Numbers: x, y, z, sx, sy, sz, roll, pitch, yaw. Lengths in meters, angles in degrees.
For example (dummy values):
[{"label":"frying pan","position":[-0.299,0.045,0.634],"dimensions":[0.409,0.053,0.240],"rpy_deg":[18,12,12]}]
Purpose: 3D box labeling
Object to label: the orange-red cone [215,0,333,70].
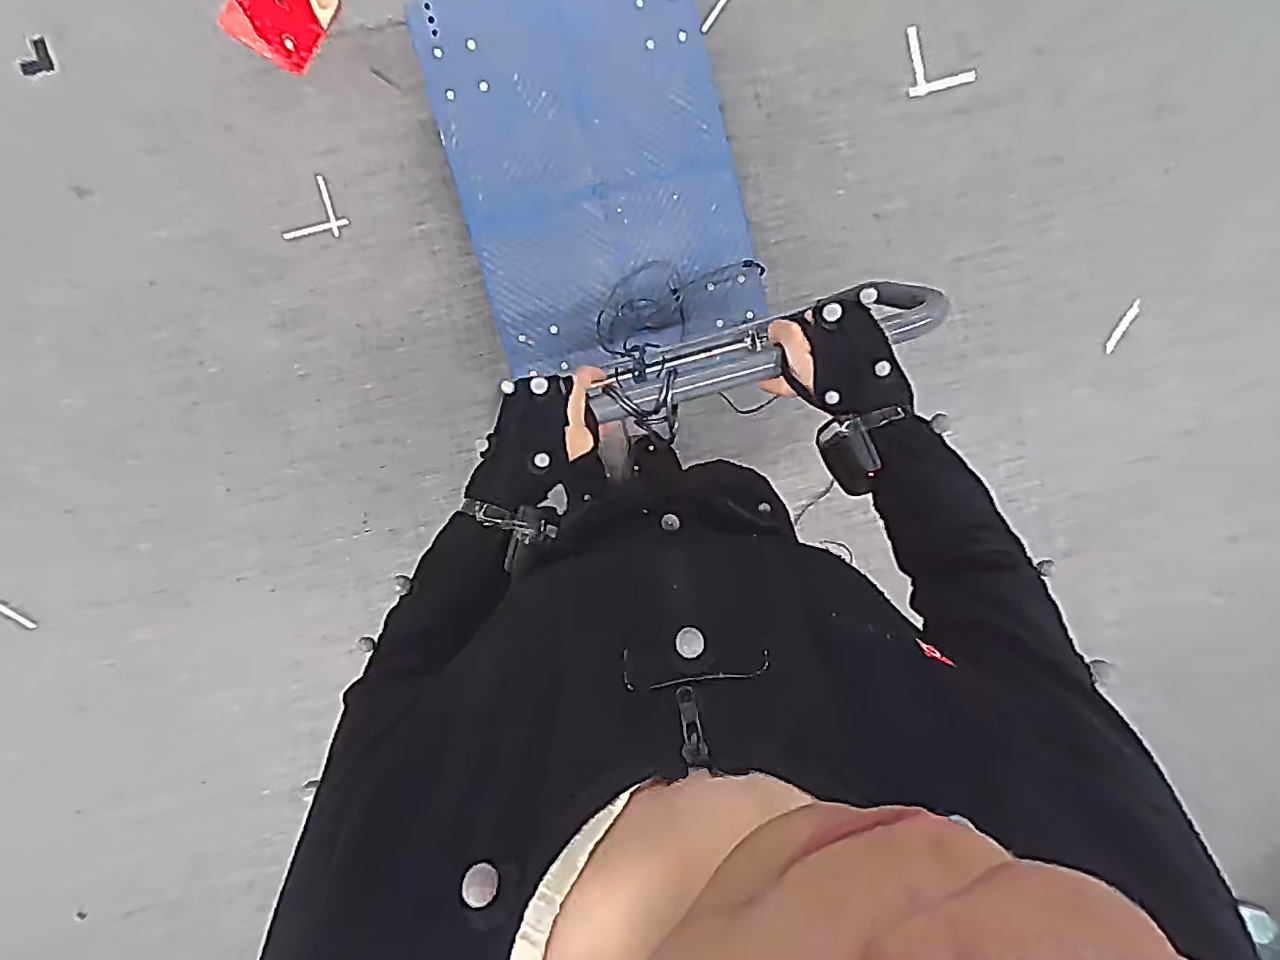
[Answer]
[{"label":"orange-red cone","position":[-0.787,-1.022,1.020],"dimensions":[0.198,0.360,0.199],"rpy_deg":[32,92,-8]}]
